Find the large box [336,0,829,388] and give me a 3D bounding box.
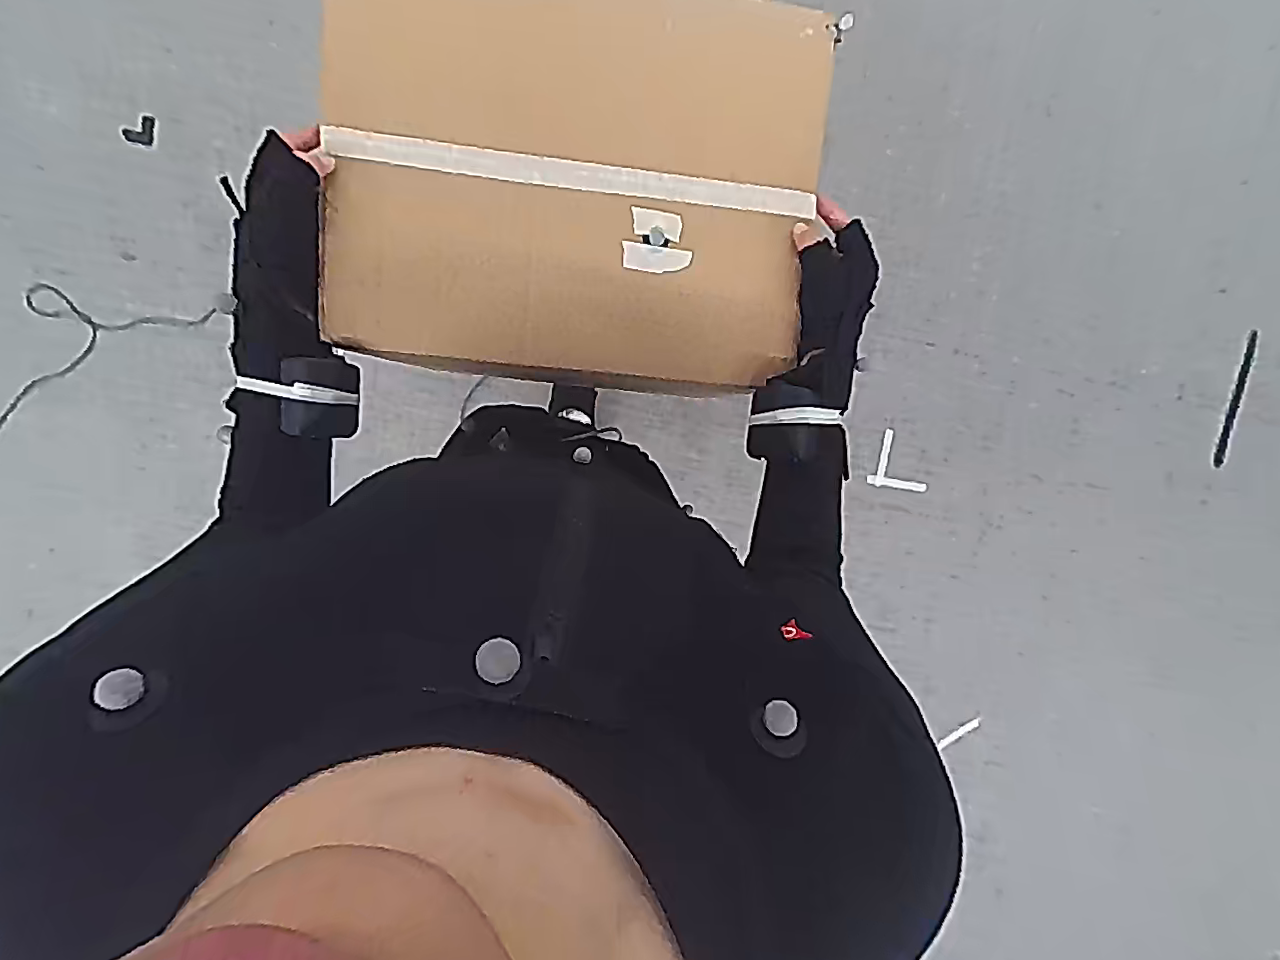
[{"bbox_3d":[-0.064,-0.277,0.602,0.408,0.320,0.320,5,98,-7],"label":"large box"}]
